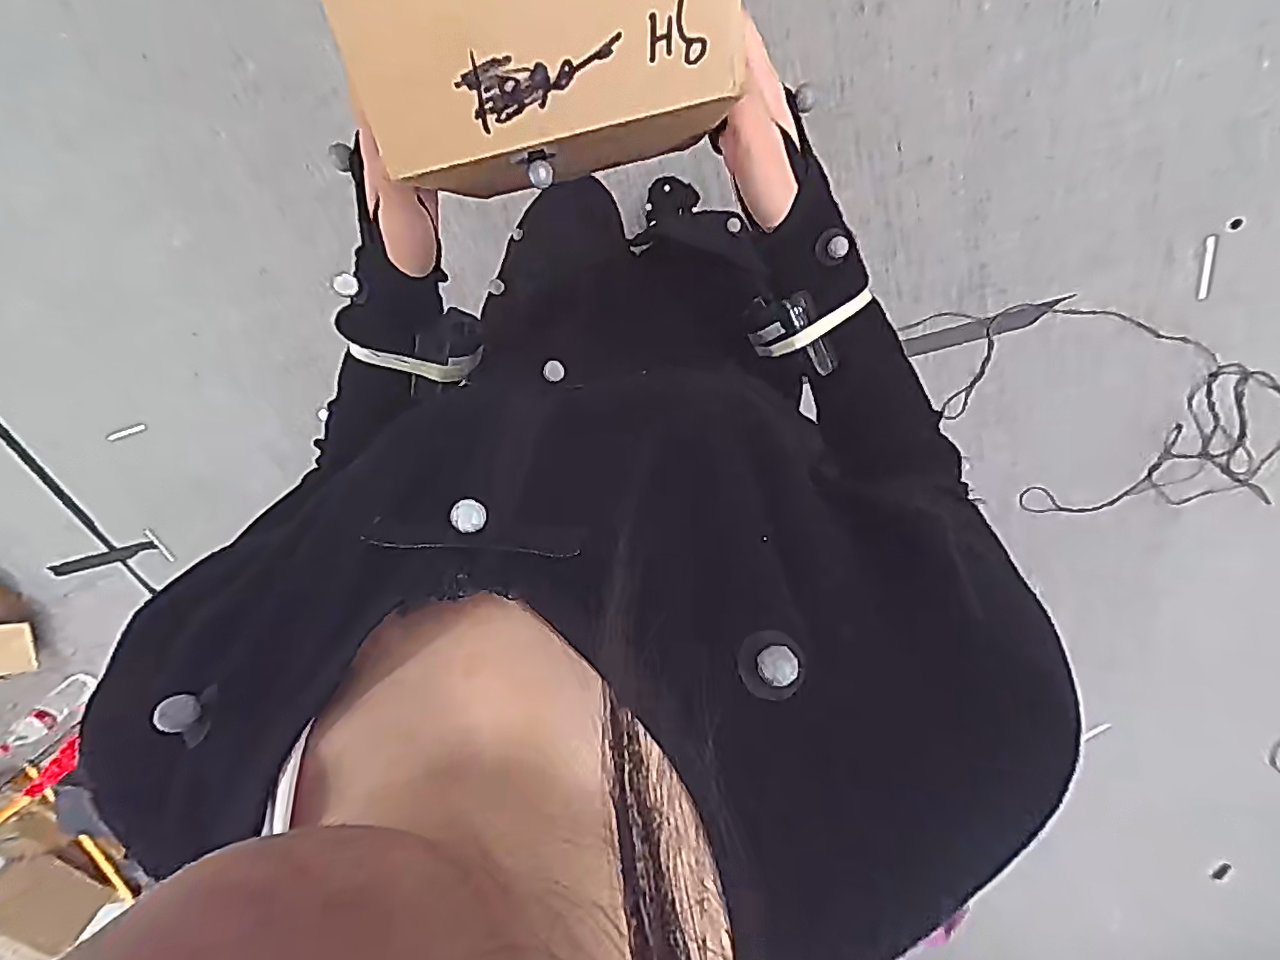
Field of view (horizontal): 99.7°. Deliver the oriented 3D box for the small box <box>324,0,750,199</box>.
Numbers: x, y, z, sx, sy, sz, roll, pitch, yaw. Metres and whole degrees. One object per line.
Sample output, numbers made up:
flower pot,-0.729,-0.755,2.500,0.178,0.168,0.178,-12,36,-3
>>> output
small box,-0.052,-0.258,0.272,0.168,0.176,0.179,-12,114,4
